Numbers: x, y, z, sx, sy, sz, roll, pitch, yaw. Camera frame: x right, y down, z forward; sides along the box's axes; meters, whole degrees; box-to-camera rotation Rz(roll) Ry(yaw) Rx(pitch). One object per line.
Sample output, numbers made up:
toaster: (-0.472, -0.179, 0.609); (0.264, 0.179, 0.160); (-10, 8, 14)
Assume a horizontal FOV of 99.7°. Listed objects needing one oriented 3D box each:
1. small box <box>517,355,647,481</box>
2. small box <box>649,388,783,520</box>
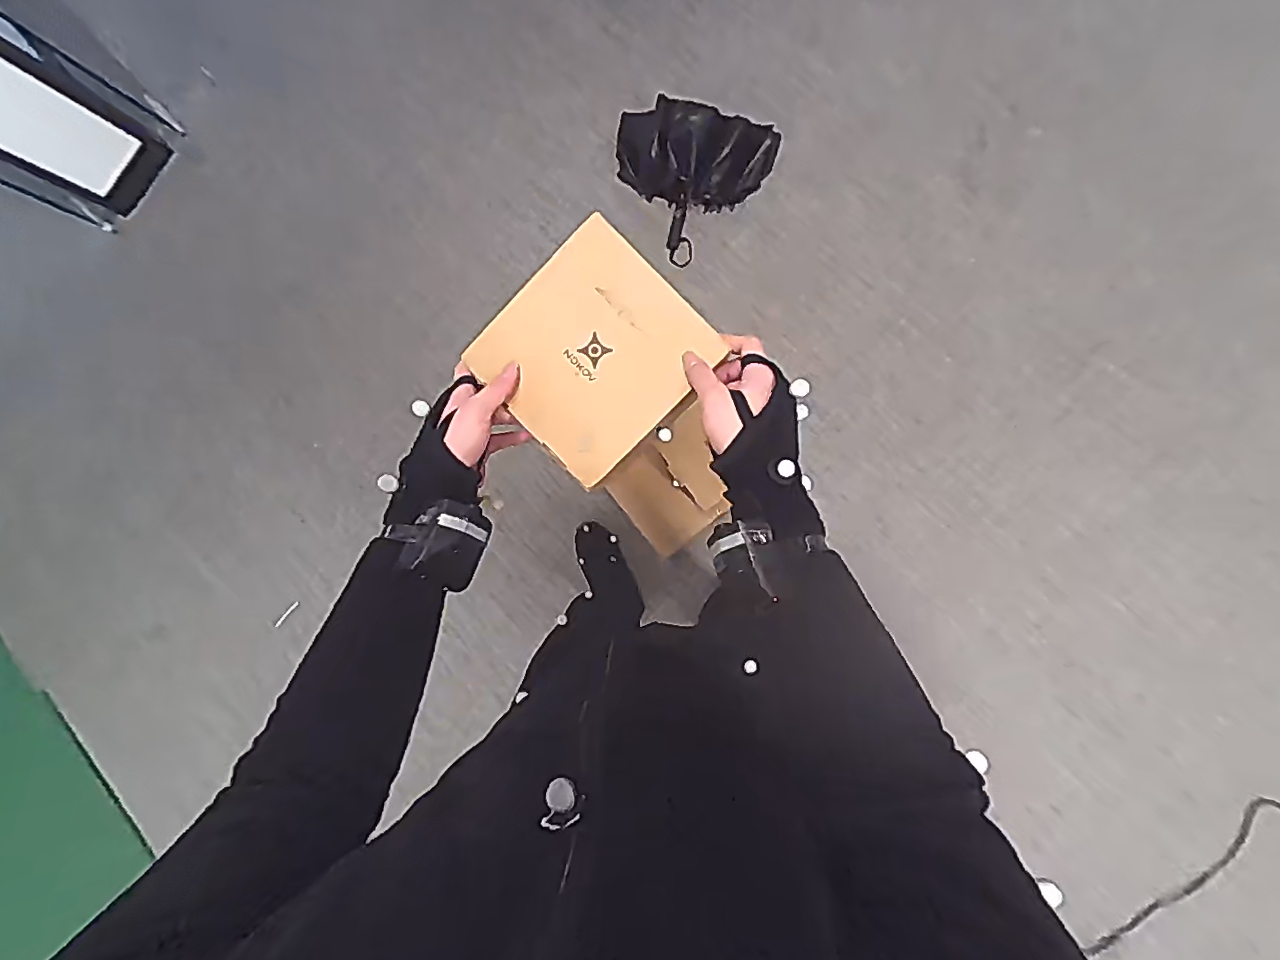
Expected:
small box: (-0.102, -0.112, 1.063); (0.179, 0.176, 0.168); (-39, 79, 9)
small box: (0.144, -0.037, 1.006); (0.179, 0.176, 0.168); (-38, 79, 5)
